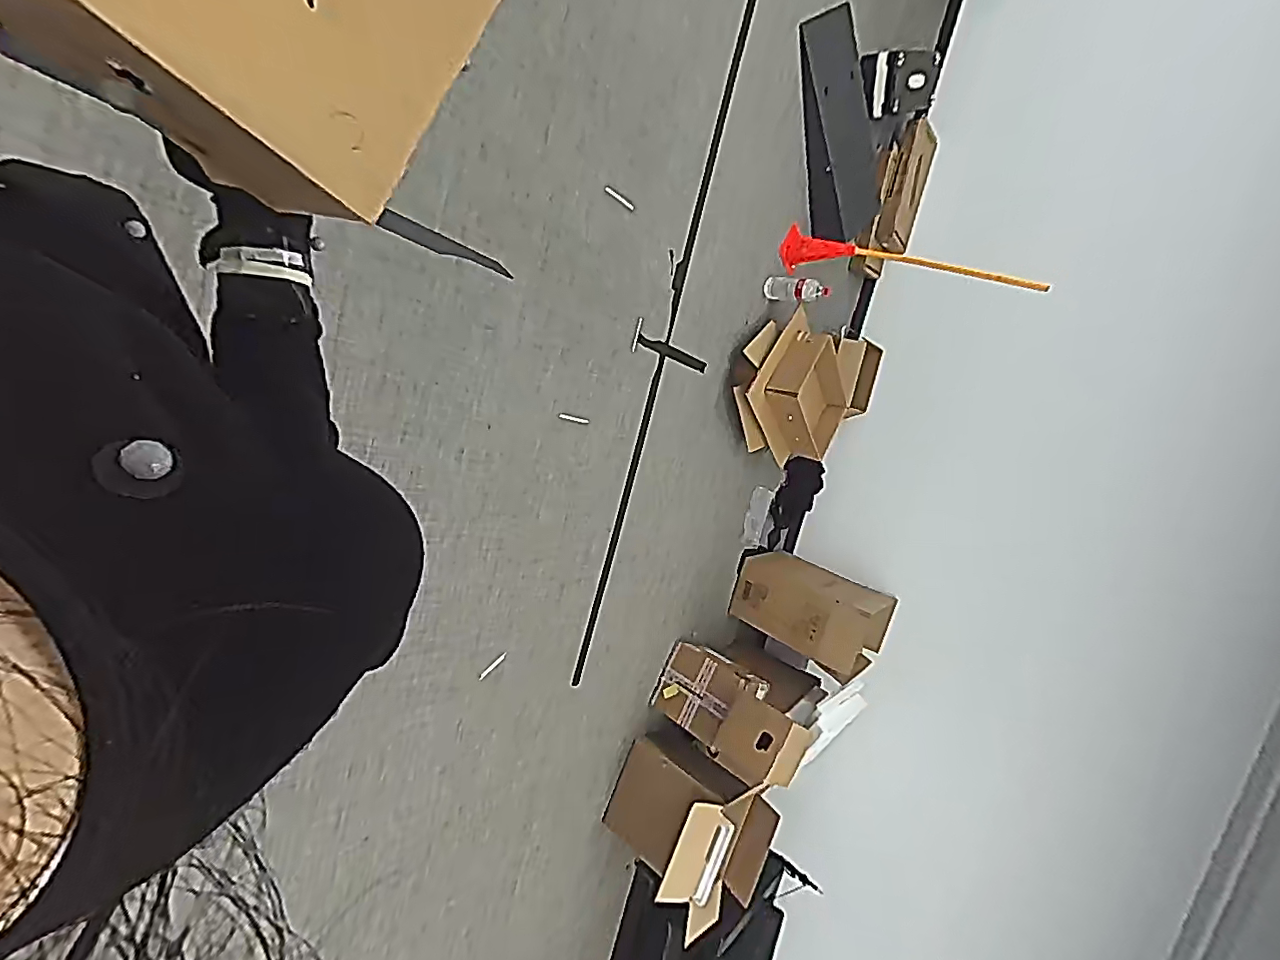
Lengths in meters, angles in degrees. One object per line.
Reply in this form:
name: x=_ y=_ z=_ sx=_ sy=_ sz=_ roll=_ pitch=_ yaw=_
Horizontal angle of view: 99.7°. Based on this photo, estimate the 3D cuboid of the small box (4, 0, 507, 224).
small box: x=-0.219 y=-0.279 z=0.315 sx=0.168 sy=0.176 sz=0.179 roll=32 pitch=83 yaw=-54
